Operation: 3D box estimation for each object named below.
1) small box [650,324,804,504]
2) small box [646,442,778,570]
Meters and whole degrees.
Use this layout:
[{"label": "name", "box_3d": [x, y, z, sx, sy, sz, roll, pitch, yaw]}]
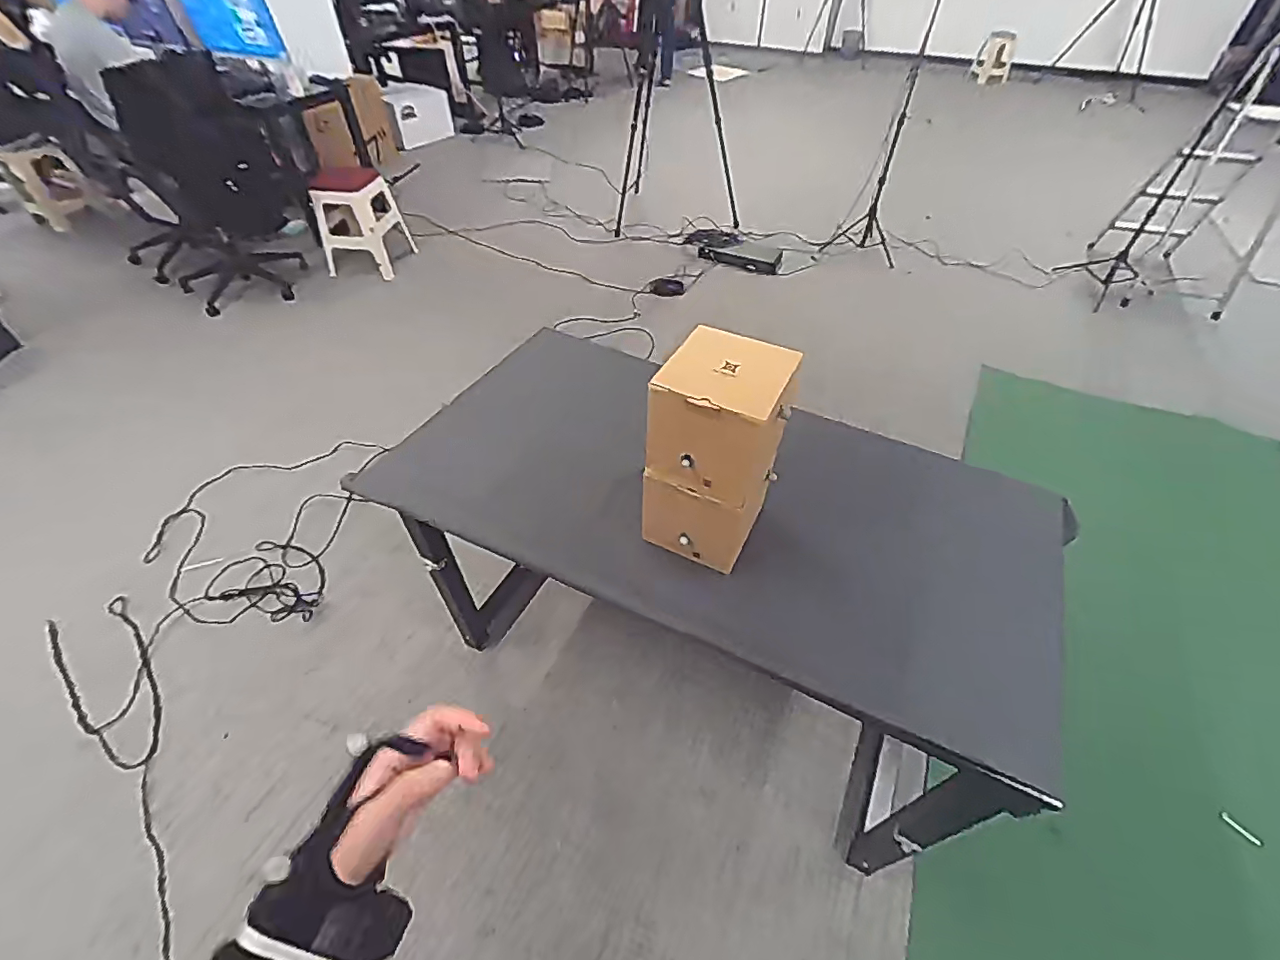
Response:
[{"label": "small box", "box_3d": [0.122, -0.098, 0.803, 0.168, 0.176, 0.179, 22, 50, 17]}, {"label": "small box", "box_3d": [0.115, 0.017, 0.917, 0.168, 0.176, 0.179, 21, 50, 18]}]
